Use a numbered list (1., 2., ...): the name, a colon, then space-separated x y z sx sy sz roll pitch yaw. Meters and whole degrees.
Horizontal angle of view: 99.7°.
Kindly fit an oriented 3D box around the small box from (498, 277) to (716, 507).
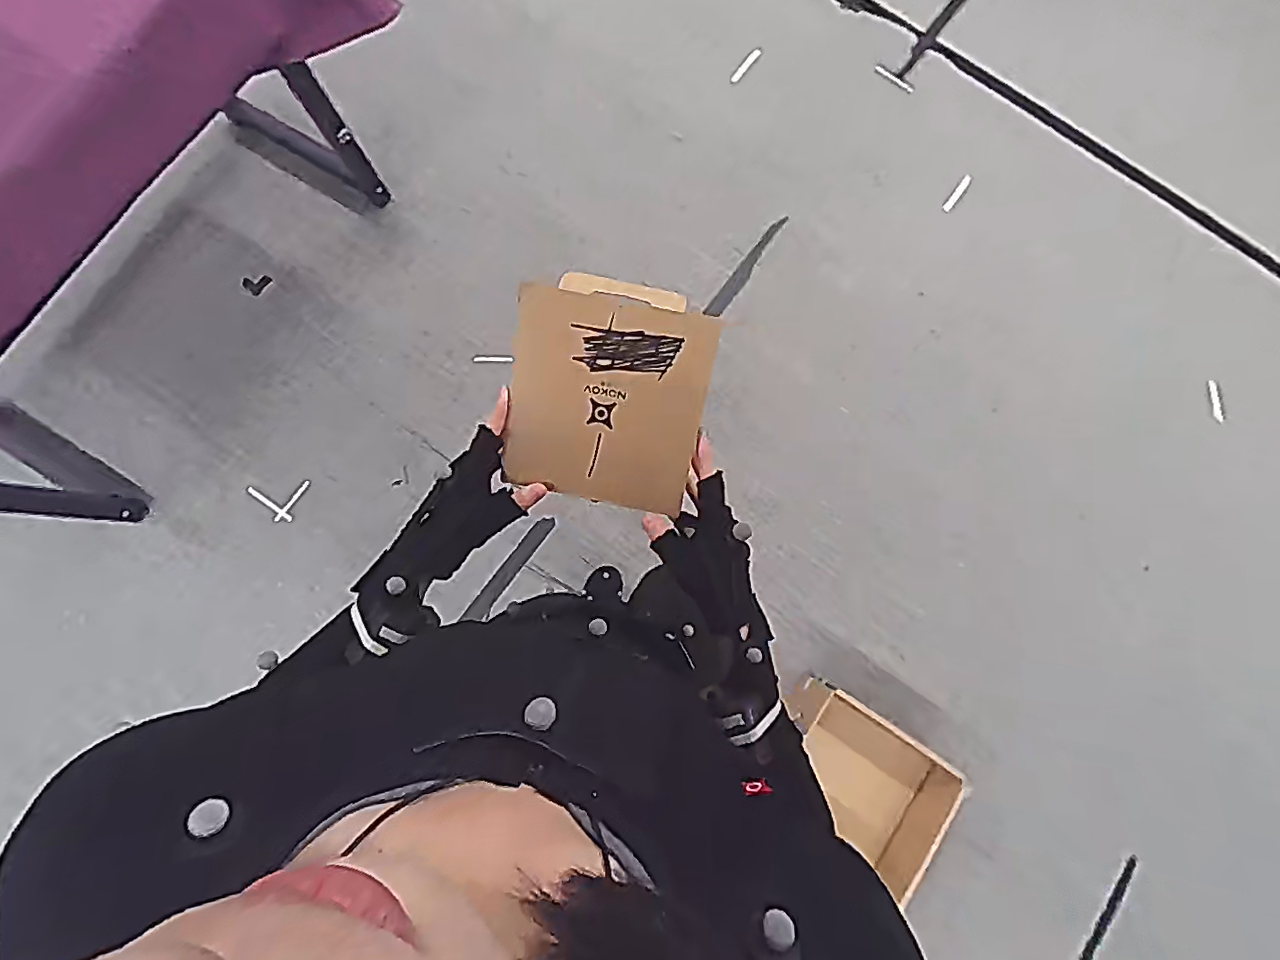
1. small box: -0.028 -0.081 0.548 0.168 0.176 0.179 11 94 2
